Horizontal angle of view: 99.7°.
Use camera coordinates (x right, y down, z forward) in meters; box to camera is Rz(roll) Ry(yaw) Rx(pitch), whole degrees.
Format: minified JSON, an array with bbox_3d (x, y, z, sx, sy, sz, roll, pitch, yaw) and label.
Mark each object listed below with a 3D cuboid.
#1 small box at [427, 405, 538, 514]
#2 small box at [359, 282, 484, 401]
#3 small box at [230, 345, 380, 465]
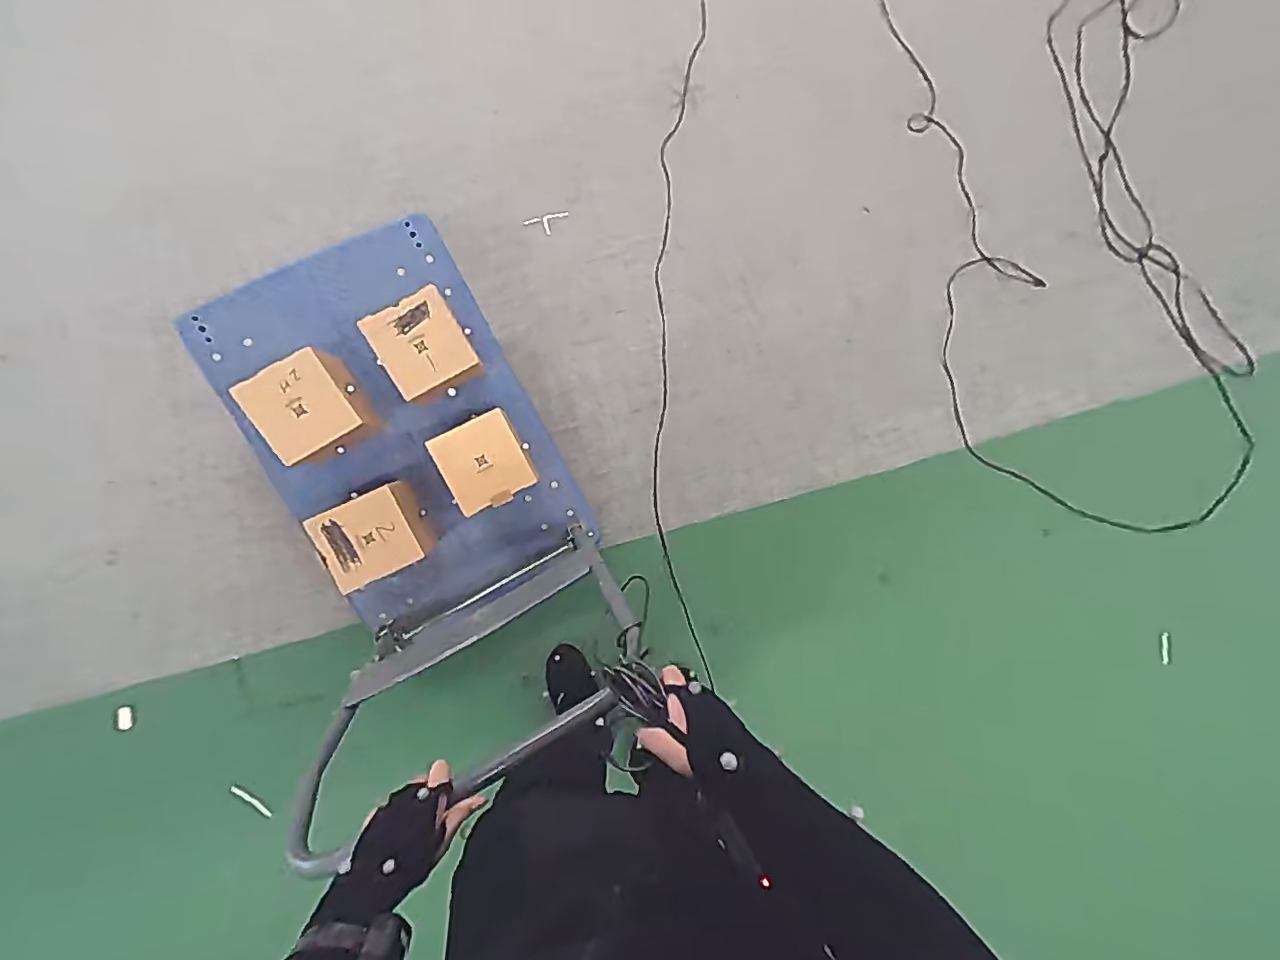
[{"bbox_3d":[-0.336,-0.046,1.177,0.168,0.176,0.179,-28,100,-8],"label":"small box"},{"bbox_3d":[-0.447,-0.281,1.135,0.168,0.176,0.179,-31,100,-7],"label":"small box"},{"bbox_3d":[-0.666,-0.150,1.103,0.168,0.176,0.179,-33,100,-8],"label":"small box"}]
